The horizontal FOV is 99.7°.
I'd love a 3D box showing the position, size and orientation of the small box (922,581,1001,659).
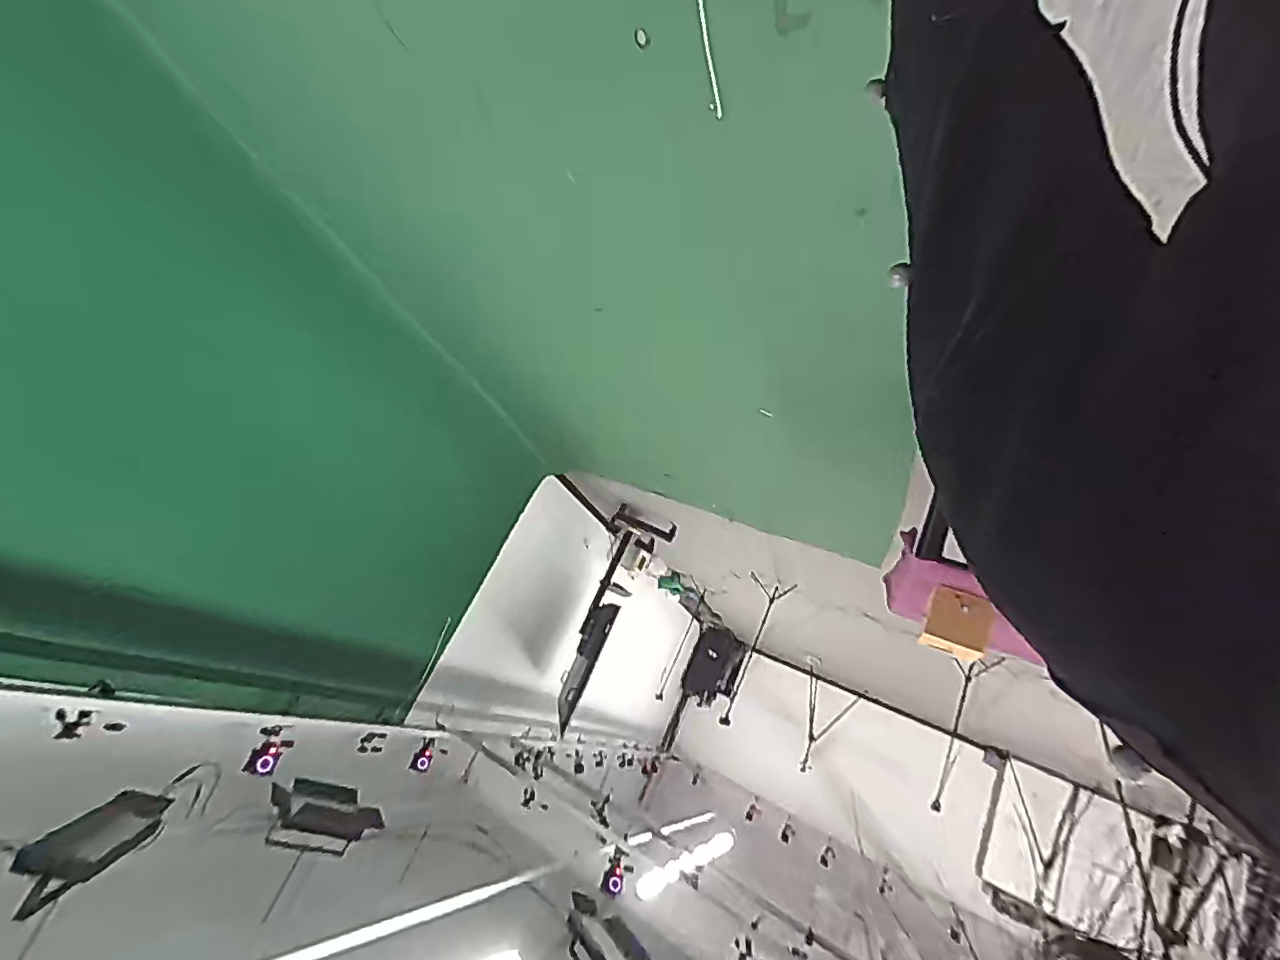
[{"bbox_3d":[1.007,0.439,1.696,0.168,0.176,0.179,17,161,26],"label":"small box"}]
